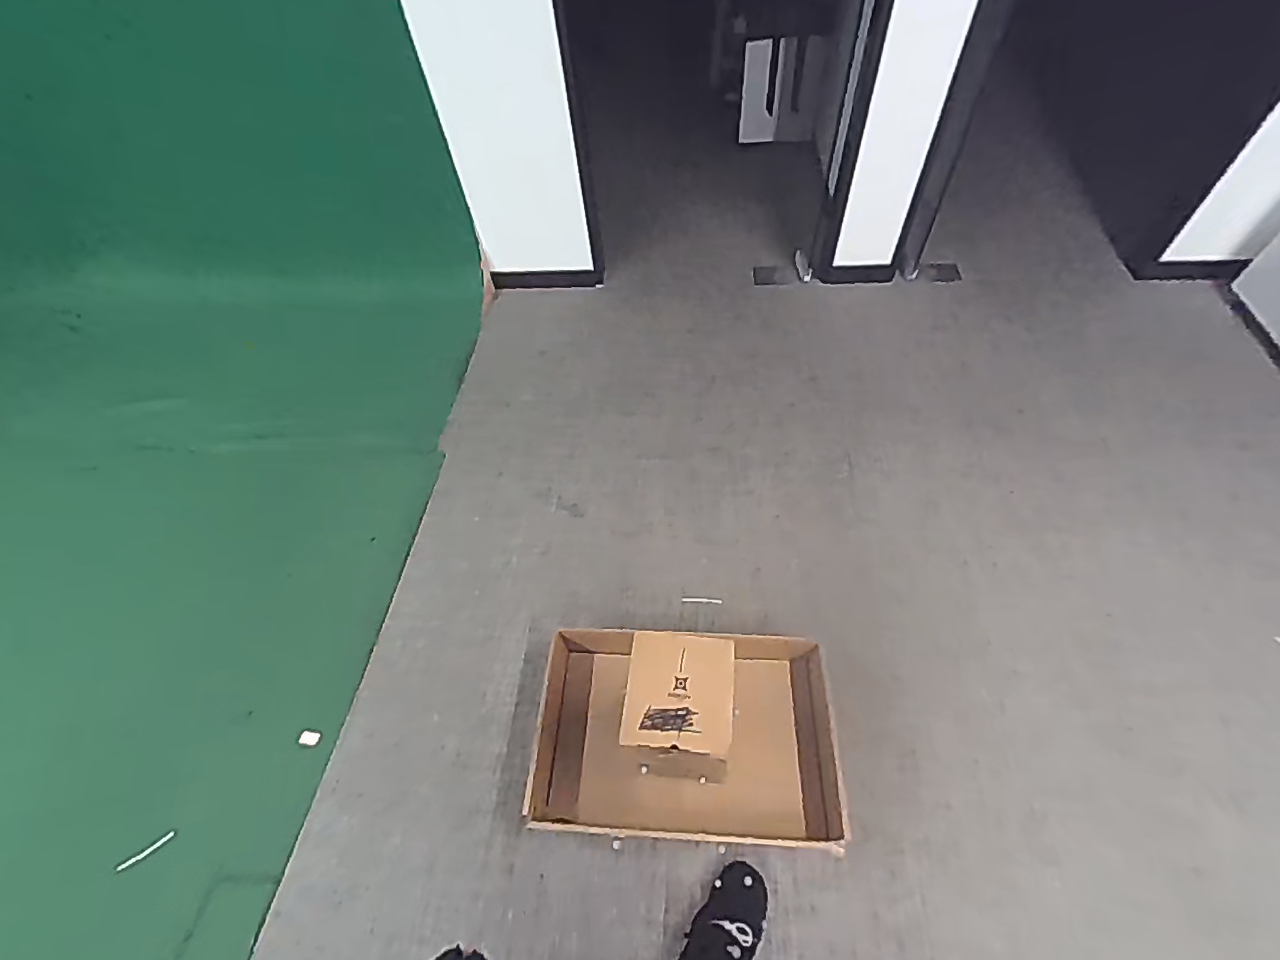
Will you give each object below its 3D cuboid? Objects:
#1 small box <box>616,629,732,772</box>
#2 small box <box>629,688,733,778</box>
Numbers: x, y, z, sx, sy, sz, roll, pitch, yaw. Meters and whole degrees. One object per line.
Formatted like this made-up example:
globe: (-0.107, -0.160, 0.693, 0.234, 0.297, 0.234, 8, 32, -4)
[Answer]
small box: (0.063, 0.371, 0.901, 0.168, 0.176, 0.179, 4, 53, 8)
small box: (0.077, 0.457, 1.020, 0.179, 0.176, 0.168, 0, 54, 5)
